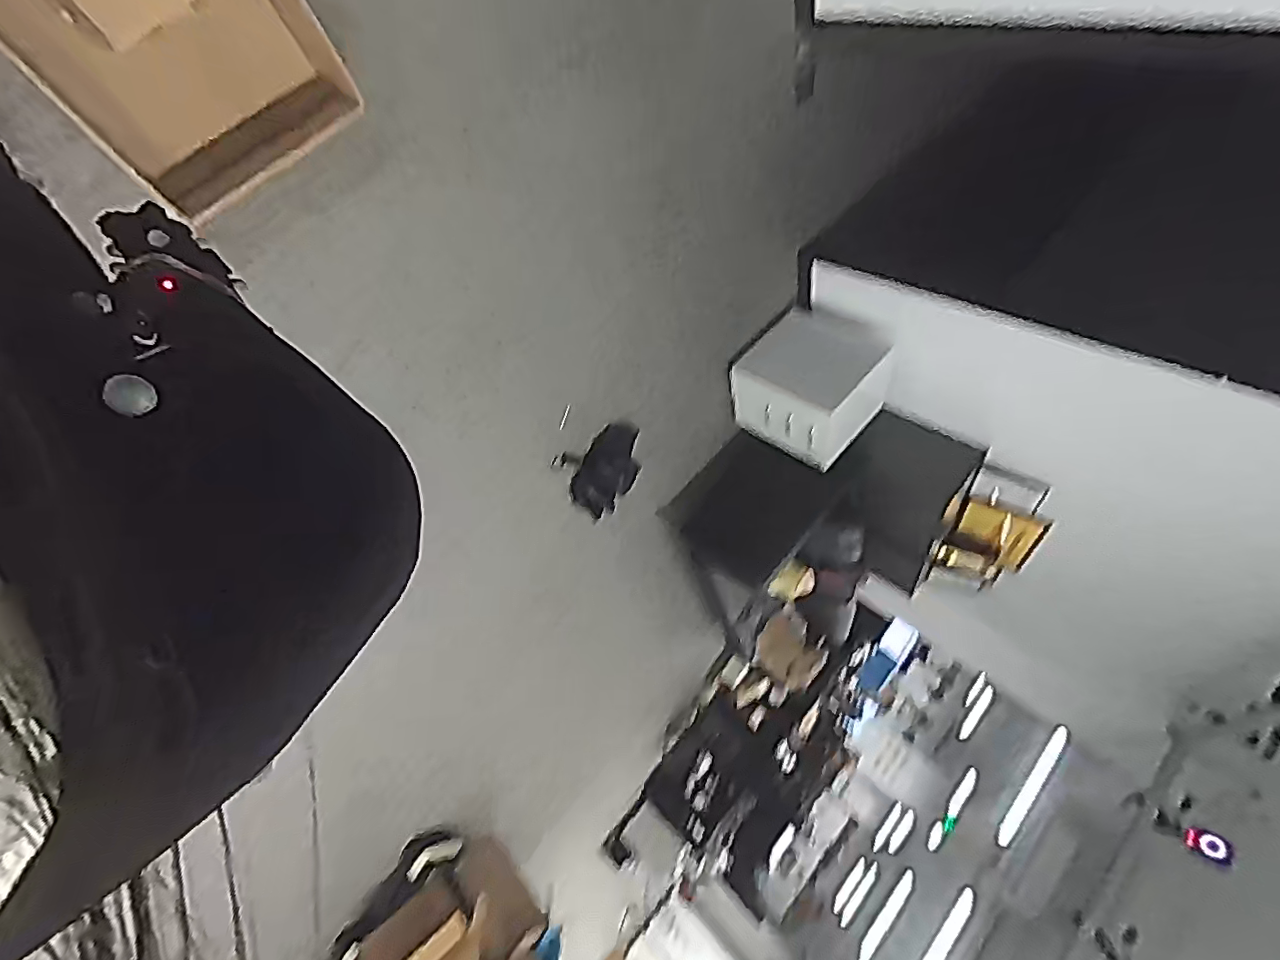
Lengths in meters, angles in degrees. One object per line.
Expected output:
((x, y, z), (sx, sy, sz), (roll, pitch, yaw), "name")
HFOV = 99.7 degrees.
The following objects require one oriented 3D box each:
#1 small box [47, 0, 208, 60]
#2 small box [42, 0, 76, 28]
((-0.660, -0.651, 0.645), (0.168, 0.176, 0.179), (-51, 149, -10), "small box")
((-0.777, -0.750, 0.738), (0.179, 0.176, 0.168), (-48, 147, -15), "small box")
